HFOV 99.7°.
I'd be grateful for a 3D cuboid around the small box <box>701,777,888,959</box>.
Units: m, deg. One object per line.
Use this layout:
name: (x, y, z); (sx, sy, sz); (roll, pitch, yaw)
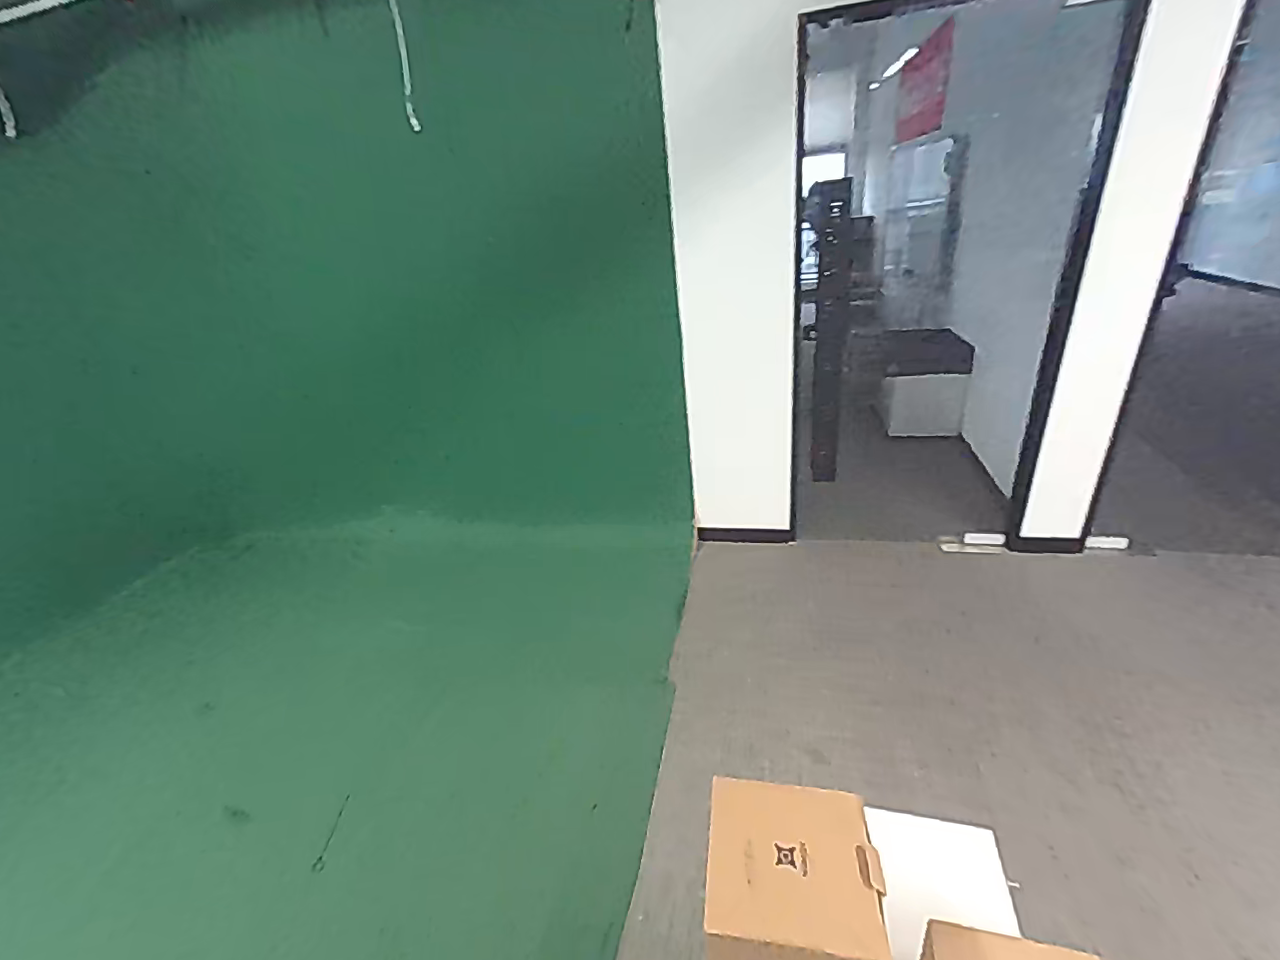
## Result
small box: (0.165, 0.477, 0.618); (0.179, 0.176, 0.168); (0, 27, 11)
